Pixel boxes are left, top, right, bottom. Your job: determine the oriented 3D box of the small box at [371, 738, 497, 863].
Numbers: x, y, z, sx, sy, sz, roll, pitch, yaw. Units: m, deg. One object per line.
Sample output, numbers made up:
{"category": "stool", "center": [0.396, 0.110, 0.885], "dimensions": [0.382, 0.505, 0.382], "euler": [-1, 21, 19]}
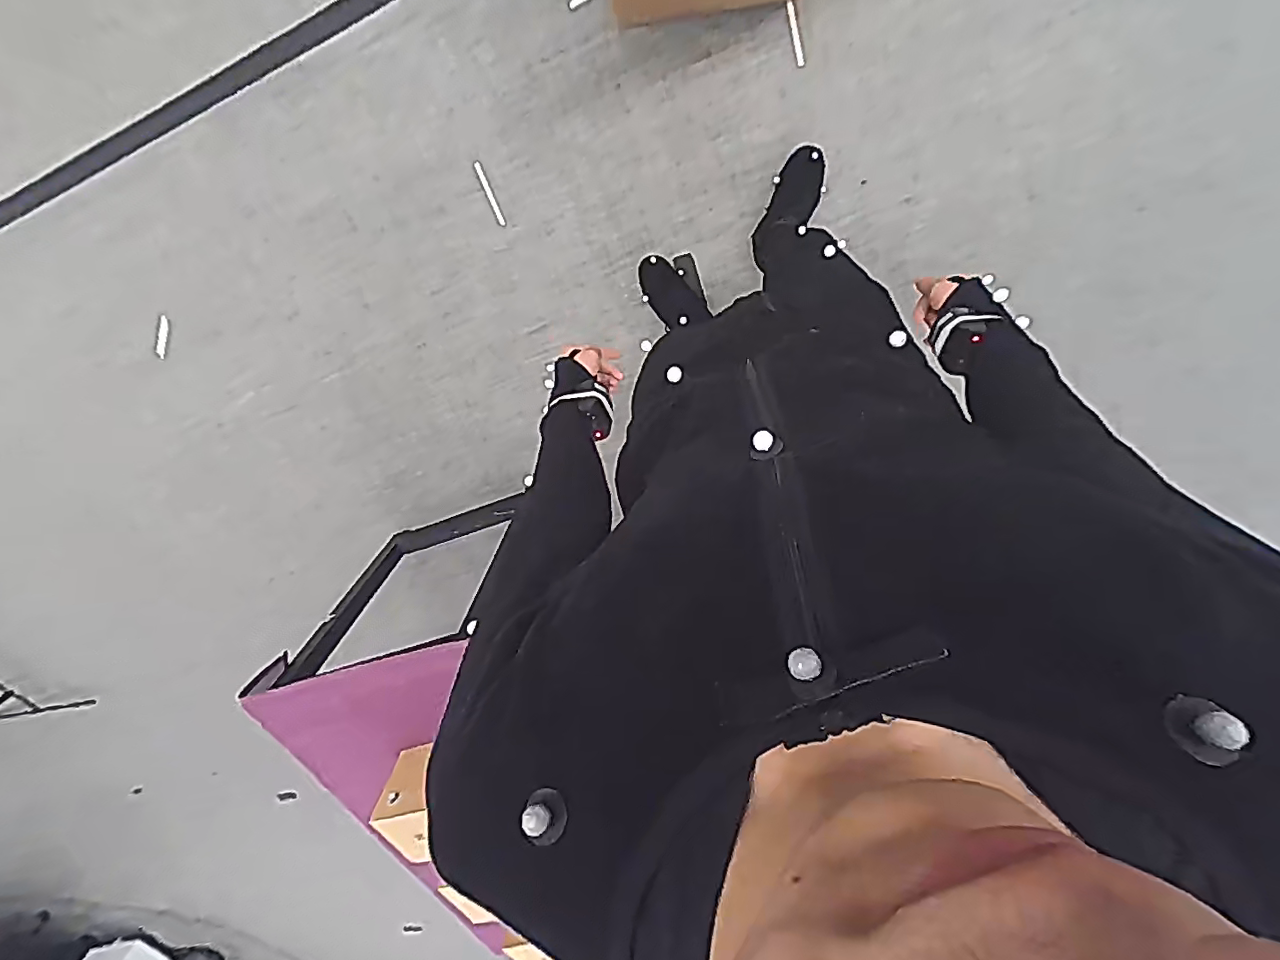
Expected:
{"category": "small box", "center": [-0.452, 0.716, 1.217], "dimensions": [0.179, 0.176, 0.168], "euler": [-19, 116, 12]}
